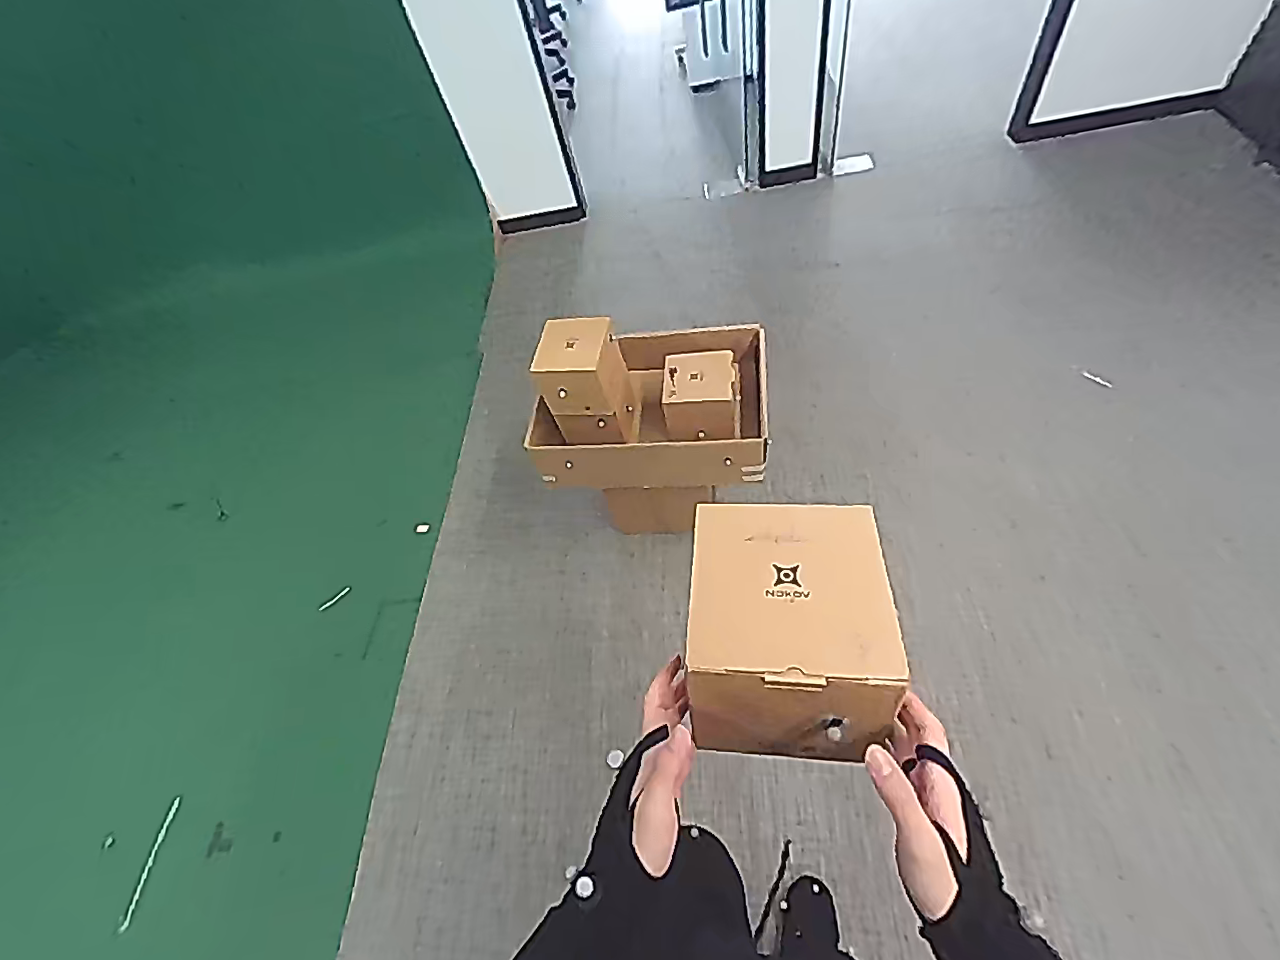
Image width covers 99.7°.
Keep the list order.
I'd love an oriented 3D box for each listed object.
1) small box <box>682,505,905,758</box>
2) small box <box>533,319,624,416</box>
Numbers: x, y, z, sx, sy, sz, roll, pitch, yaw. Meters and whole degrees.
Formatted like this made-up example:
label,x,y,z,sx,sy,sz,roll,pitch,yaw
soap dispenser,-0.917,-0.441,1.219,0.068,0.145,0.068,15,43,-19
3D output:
label,x,y,z,sx,sy,sz,roll,pitch,yaw
small box,0.135,0.143,0.515,0.168,0.176,0.179,1,44,11
small box,-0.144,-0.273,1.346,0.168,0.176,0.179,2,58,14
